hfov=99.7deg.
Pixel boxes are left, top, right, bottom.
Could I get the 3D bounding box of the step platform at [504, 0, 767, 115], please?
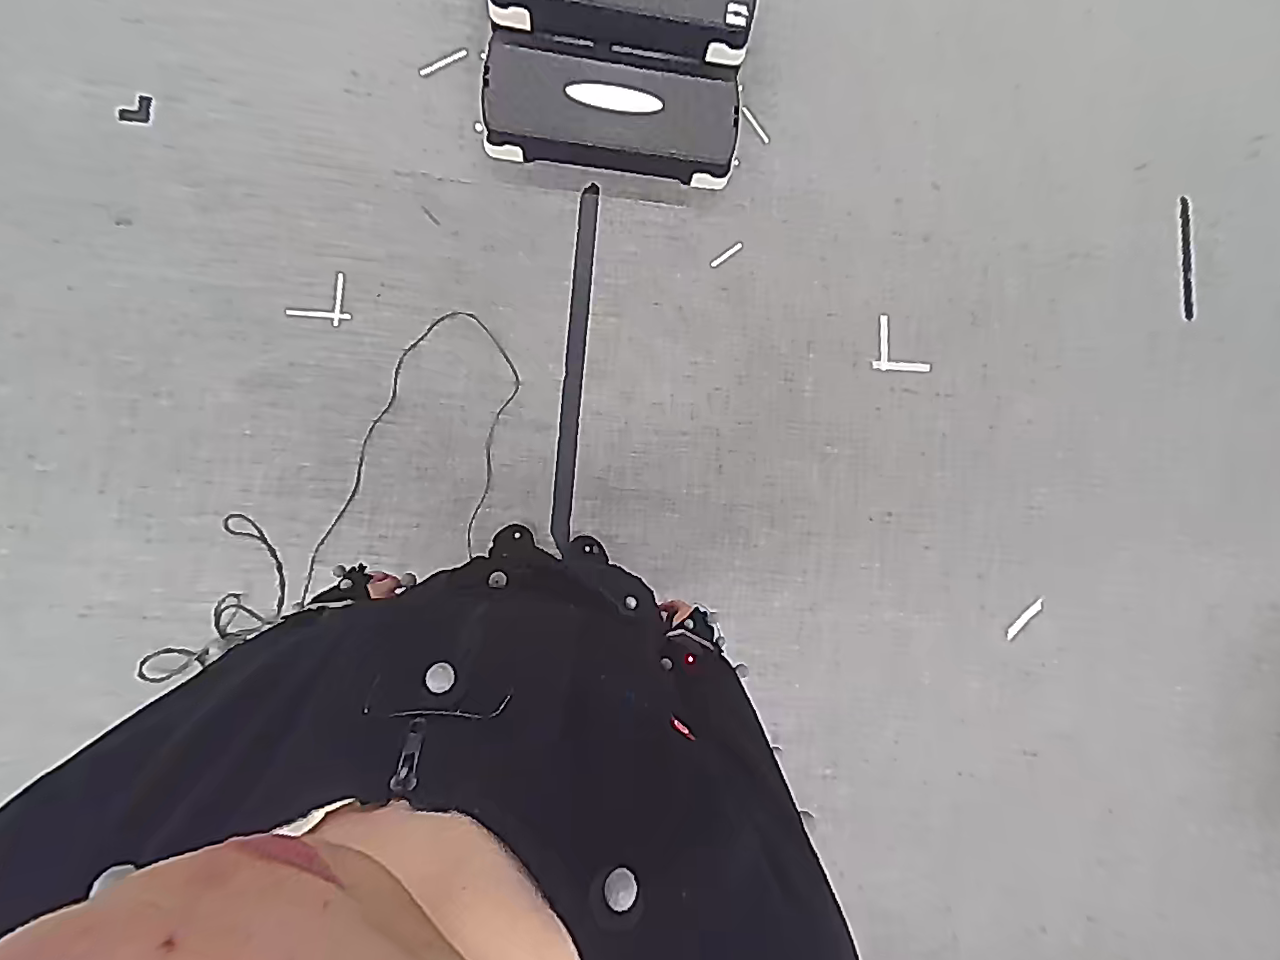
[{"bbox_3d":[-0.011,-1.232,1.441,0.684,0.204,0.286,9,84,-6],"label":"step platform"}]
